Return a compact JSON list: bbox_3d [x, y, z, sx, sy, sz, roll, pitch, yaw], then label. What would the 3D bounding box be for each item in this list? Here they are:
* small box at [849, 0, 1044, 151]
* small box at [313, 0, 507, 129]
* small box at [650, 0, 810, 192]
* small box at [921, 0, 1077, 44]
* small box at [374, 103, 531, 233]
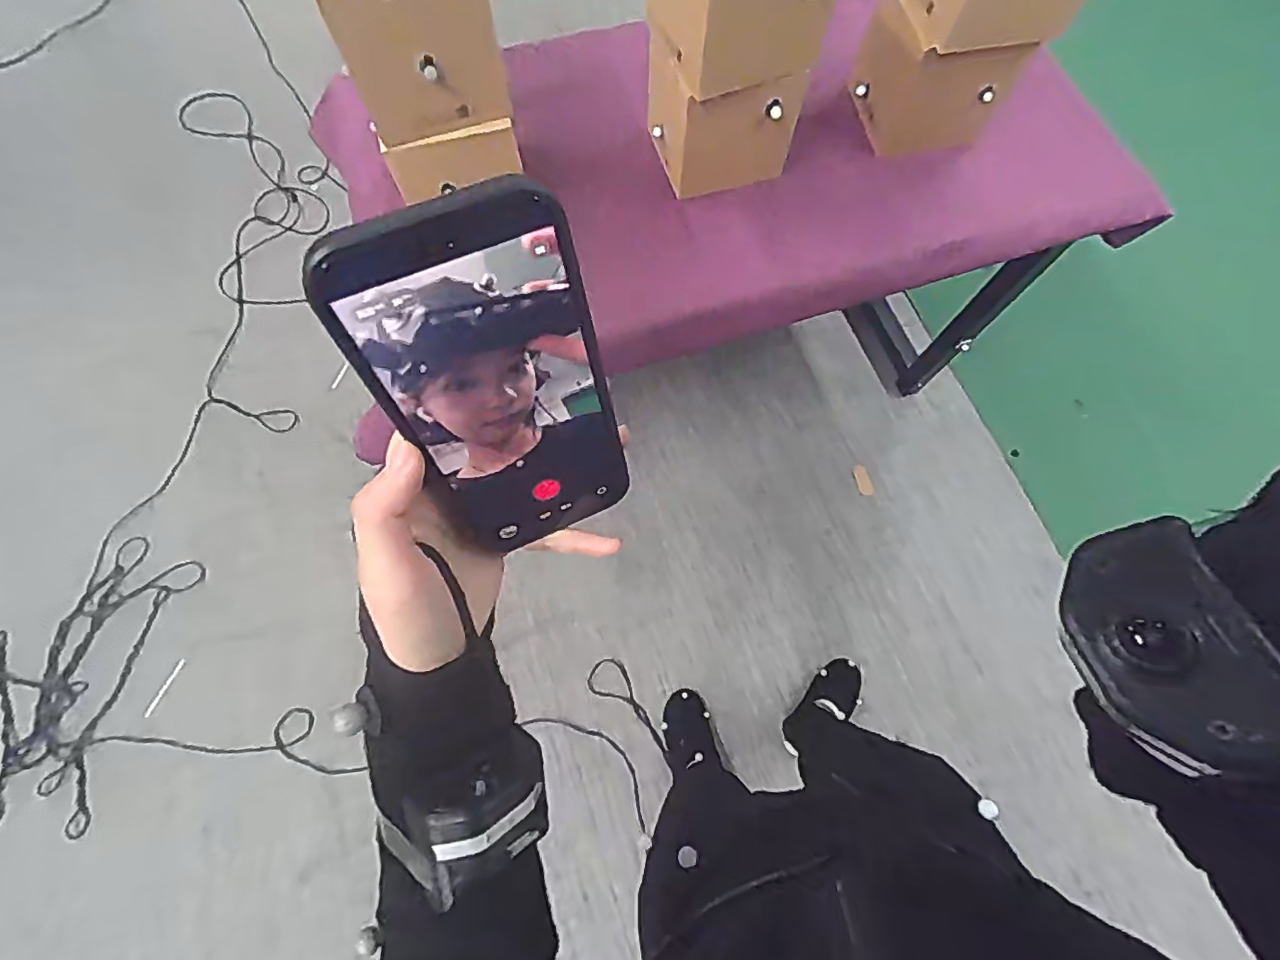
[{"bbox_3d":[0.449,-0.640,0.822,0.179,0.176,0.168,-9,72,-3],"label":"small box"},{"bbox_3d":[-0.265,-0.538,0.615,0.168,0.176,0.179,-19,74,-7],"label":"small box"},{"bbox_3d":[0.118,-0.564,0.795,0.179,0.176,0.168,-15,73,-5],"label":"small box"},{"bbox_3d":[0.462,-0.678,0.663,0.179,0.176,0.168,-10,72,-4],"label":"small box"},{"bbox_3d":[-0.263,-0.481,0.769,0.168,0.176,0.179,-15,73,-5],"label":"small box"}]
